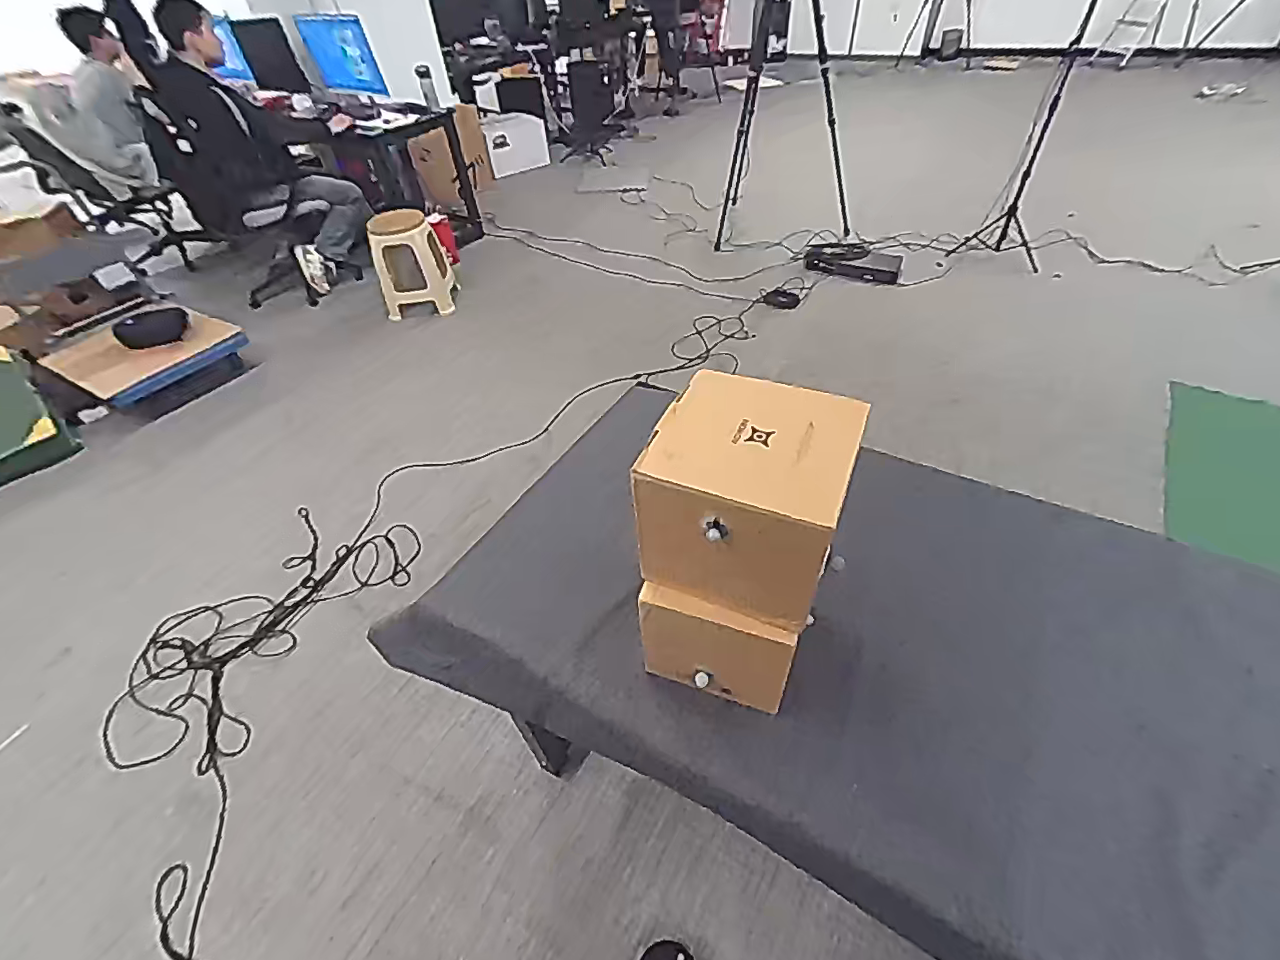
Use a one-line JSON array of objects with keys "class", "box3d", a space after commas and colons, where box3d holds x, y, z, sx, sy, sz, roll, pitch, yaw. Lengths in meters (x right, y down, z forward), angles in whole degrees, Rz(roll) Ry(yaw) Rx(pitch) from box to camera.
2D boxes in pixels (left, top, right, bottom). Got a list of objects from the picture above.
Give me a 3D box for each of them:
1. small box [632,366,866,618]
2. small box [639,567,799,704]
[{"class": "small box", "box3d": [0.108, 0.012, 0.548, 0.179, 0.176, 0.168, 16, 50, 19]}, {"class": "small box", "box3d": [0.107, 0.135, 0.656, 0.168, 0.176, 0.179, 13, 48, 17]}]
